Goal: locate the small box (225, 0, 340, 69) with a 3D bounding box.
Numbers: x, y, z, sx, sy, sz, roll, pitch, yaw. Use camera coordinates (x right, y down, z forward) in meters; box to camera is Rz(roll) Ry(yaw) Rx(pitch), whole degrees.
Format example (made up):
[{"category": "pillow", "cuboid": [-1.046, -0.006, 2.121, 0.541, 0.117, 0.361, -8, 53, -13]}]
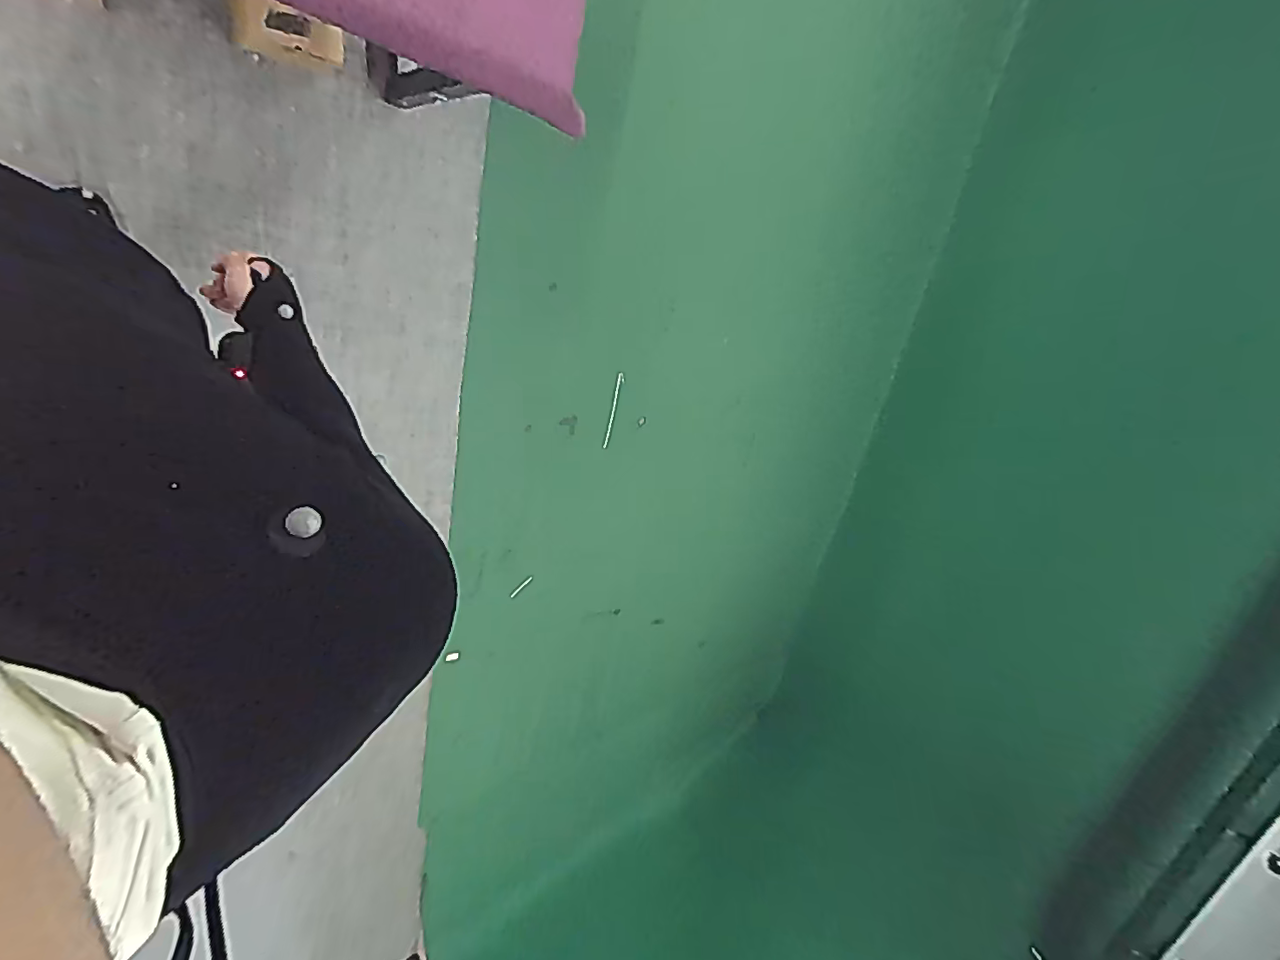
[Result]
[{"category": "small box", "cuboid": [-0.715, -0.955, 1.079, 0.168, 0.176, 0.179, -11, 119, -42]}]
